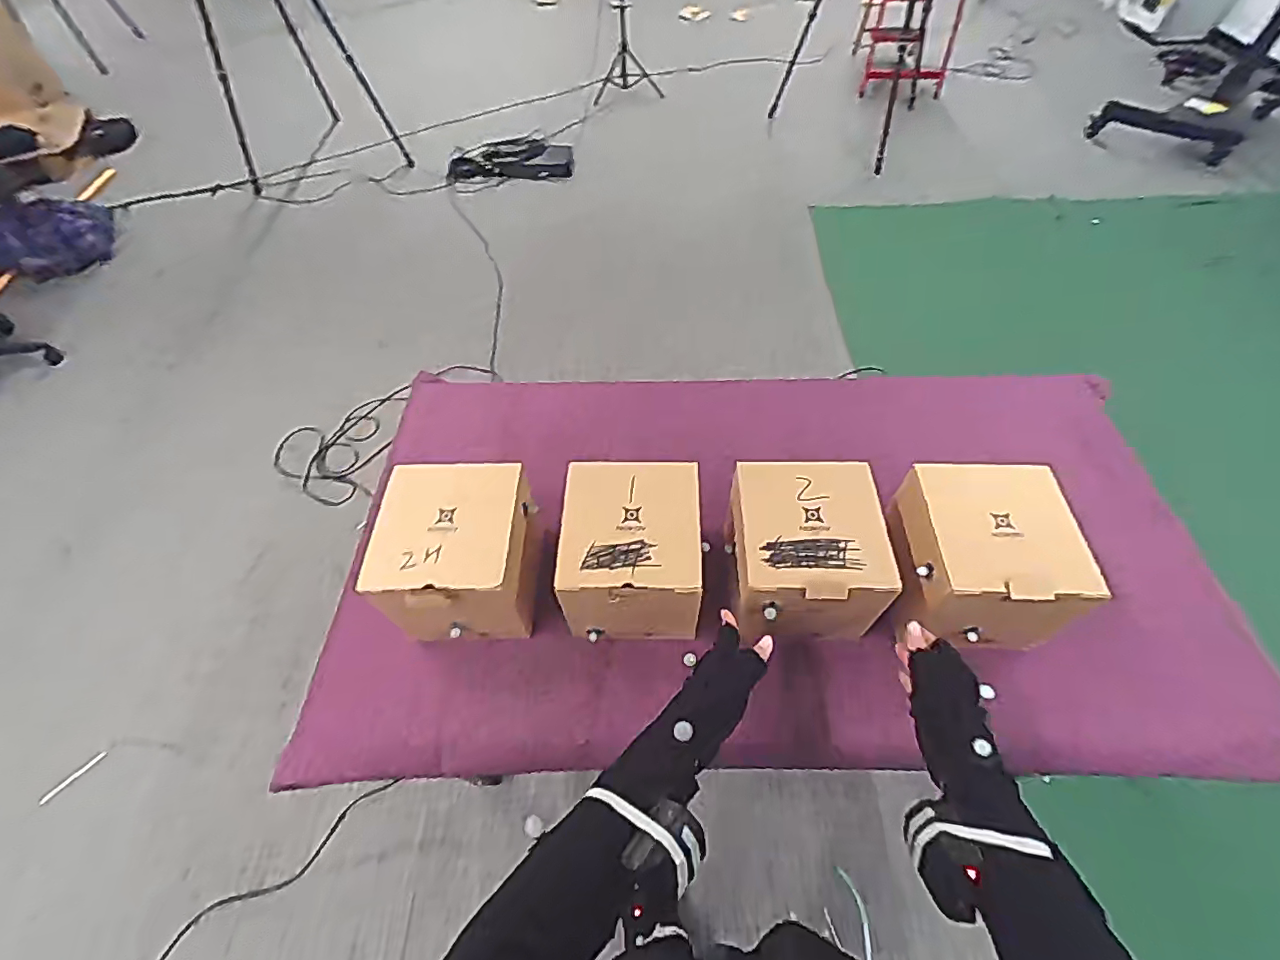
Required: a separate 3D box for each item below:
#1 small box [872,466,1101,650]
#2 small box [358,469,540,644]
[{"bbox_3d":[0.417,0.102,0.693,0.168,0.176,0.179,1,55,3],"label":"small box"},{"bbox_3d":[-0.232,0.103,0.715,0.168,0.176,0.179,-1,55,2],"label":"small box"}]
